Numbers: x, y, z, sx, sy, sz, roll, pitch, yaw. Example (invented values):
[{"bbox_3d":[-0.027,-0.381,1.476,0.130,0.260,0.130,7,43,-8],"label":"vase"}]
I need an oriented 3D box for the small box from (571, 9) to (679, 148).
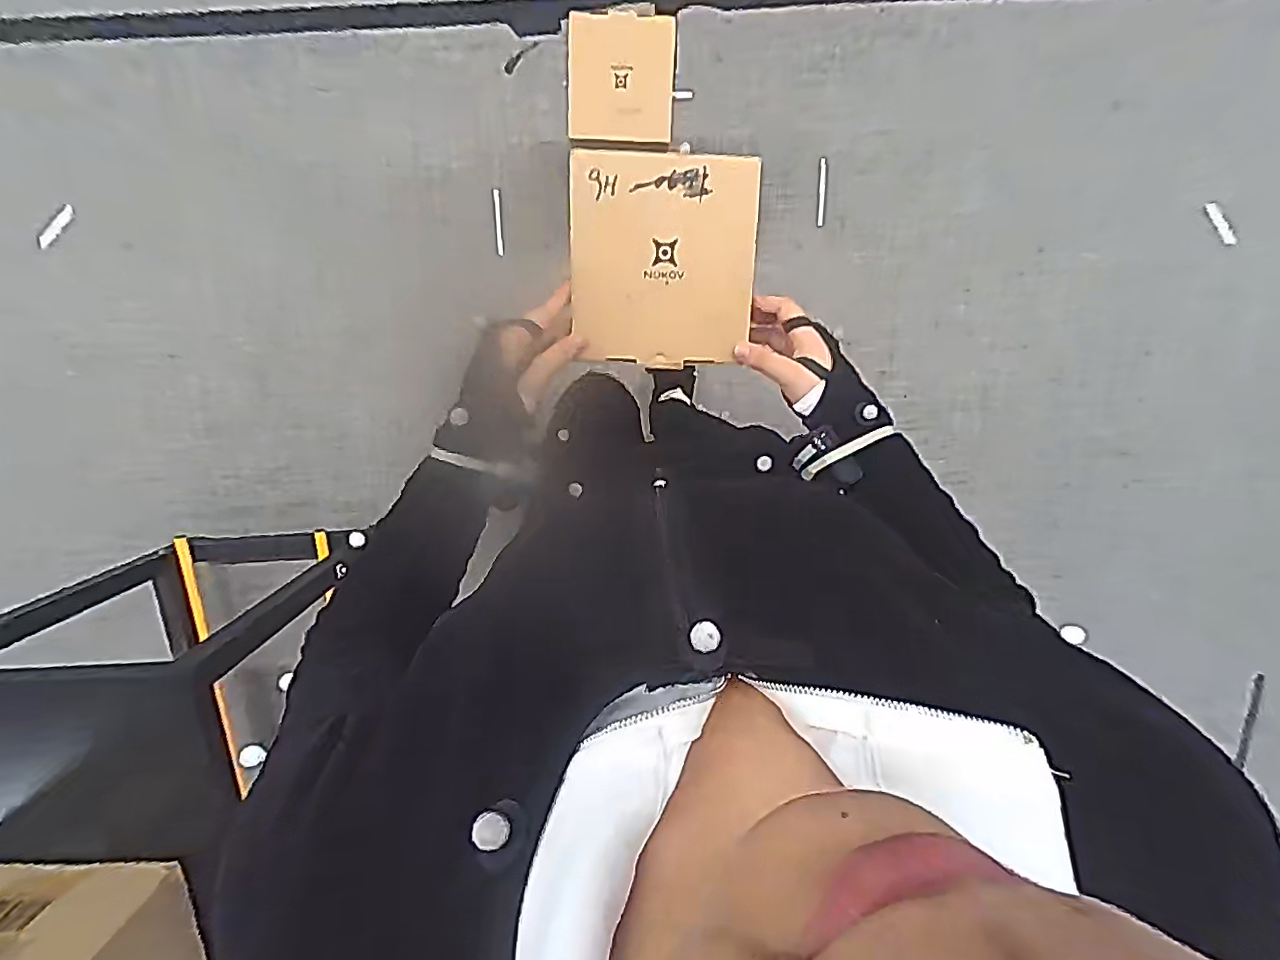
[{"bbox_3d":[-0.026,-0.644,0.914,0.168,0.176,0.179,2,105,0],"label":"small box"}]

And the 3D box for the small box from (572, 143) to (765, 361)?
[{"bbox_3d":[0.019,-0.221,0.554,0.168,0.176,0.179,0,107,-4],"label":"small box"}]
